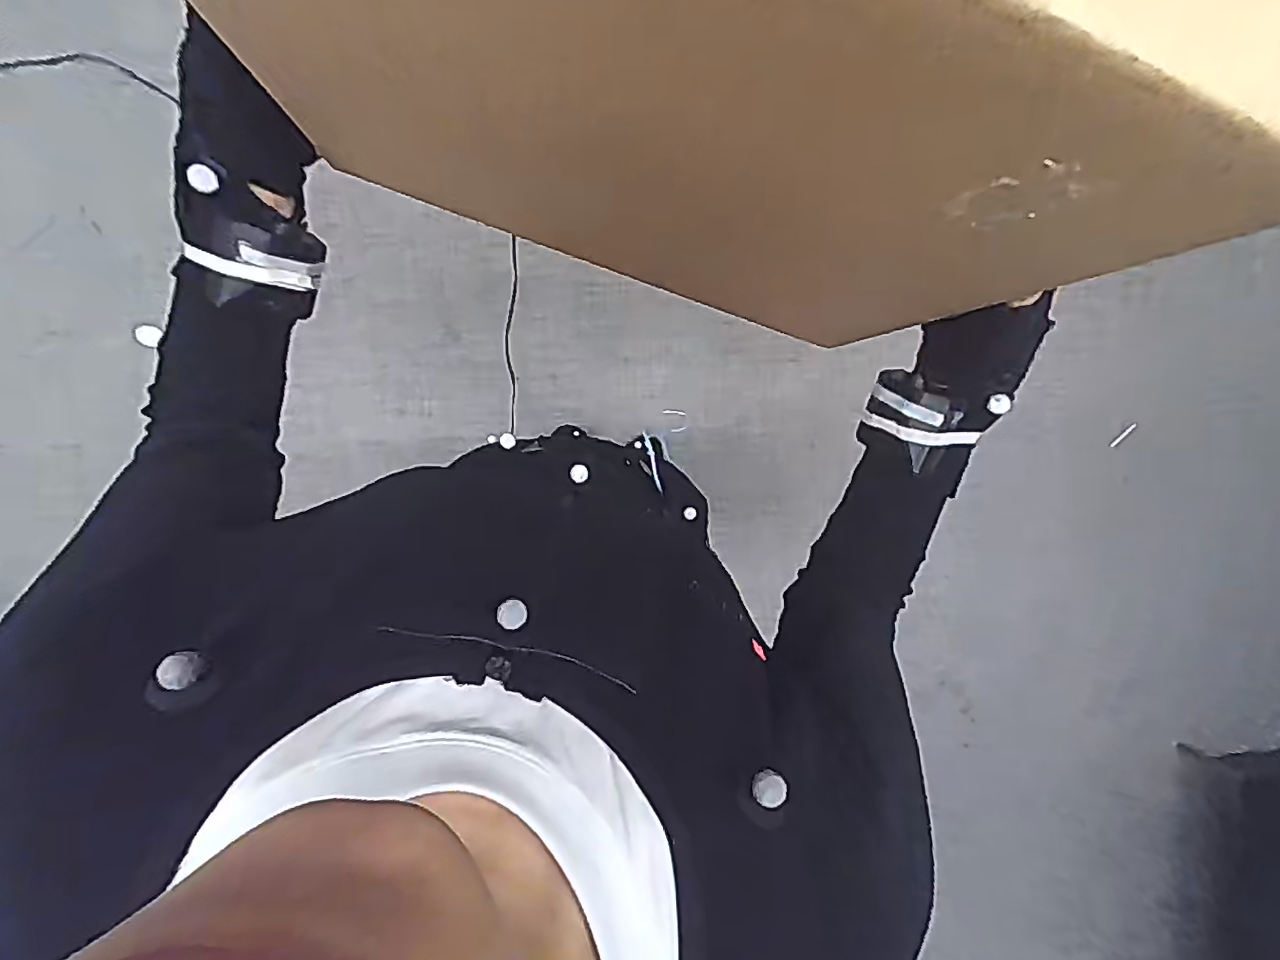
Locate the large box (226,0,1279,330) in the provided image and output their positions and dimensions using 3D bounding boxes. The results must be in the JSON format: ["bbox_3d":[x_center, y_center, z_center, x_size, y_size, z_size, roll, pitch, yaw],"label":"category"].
[{"bbox_3d":[0.043,-0.303,0.263,0.408,0.320,0.320,16,94,-11],"label":"large box"}]
